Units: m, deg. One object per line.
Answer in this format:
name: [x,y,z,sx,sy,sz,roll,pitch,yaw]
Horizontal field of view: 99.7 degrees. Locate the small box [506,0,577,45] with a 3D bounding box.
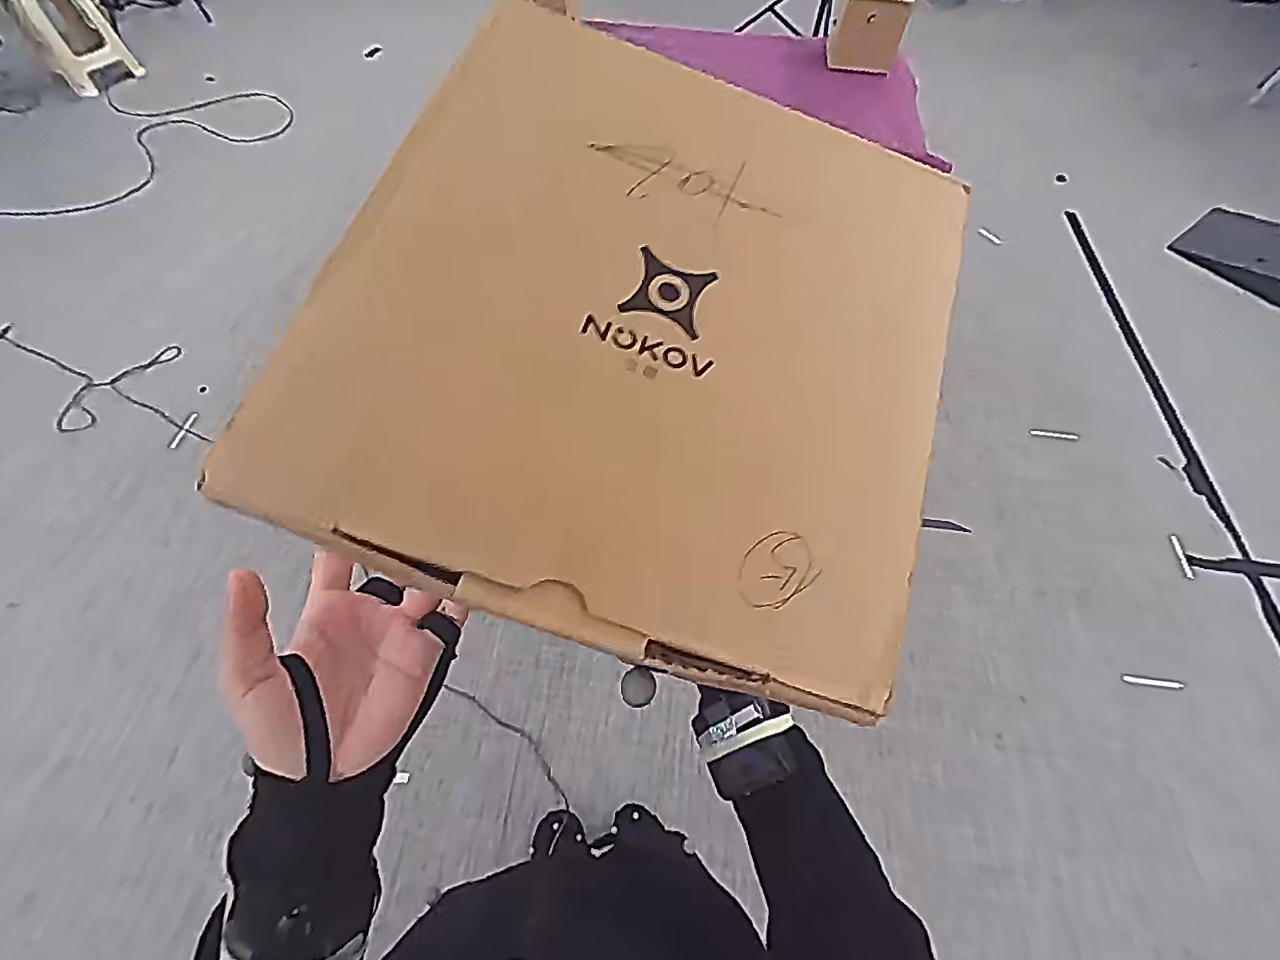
small box: [-0.285,-1.377,1.557,0.179,0.176,0.168,9,61,2]

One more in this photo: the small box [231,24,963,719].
small box: [-0.004,-0.022,0.227,0.168,0.176,0.179,19,70,-3]

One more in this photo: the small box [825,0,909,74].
small box: [0.634,-1.291,1.537,0.179,0.176,0.168,8,60,2]
